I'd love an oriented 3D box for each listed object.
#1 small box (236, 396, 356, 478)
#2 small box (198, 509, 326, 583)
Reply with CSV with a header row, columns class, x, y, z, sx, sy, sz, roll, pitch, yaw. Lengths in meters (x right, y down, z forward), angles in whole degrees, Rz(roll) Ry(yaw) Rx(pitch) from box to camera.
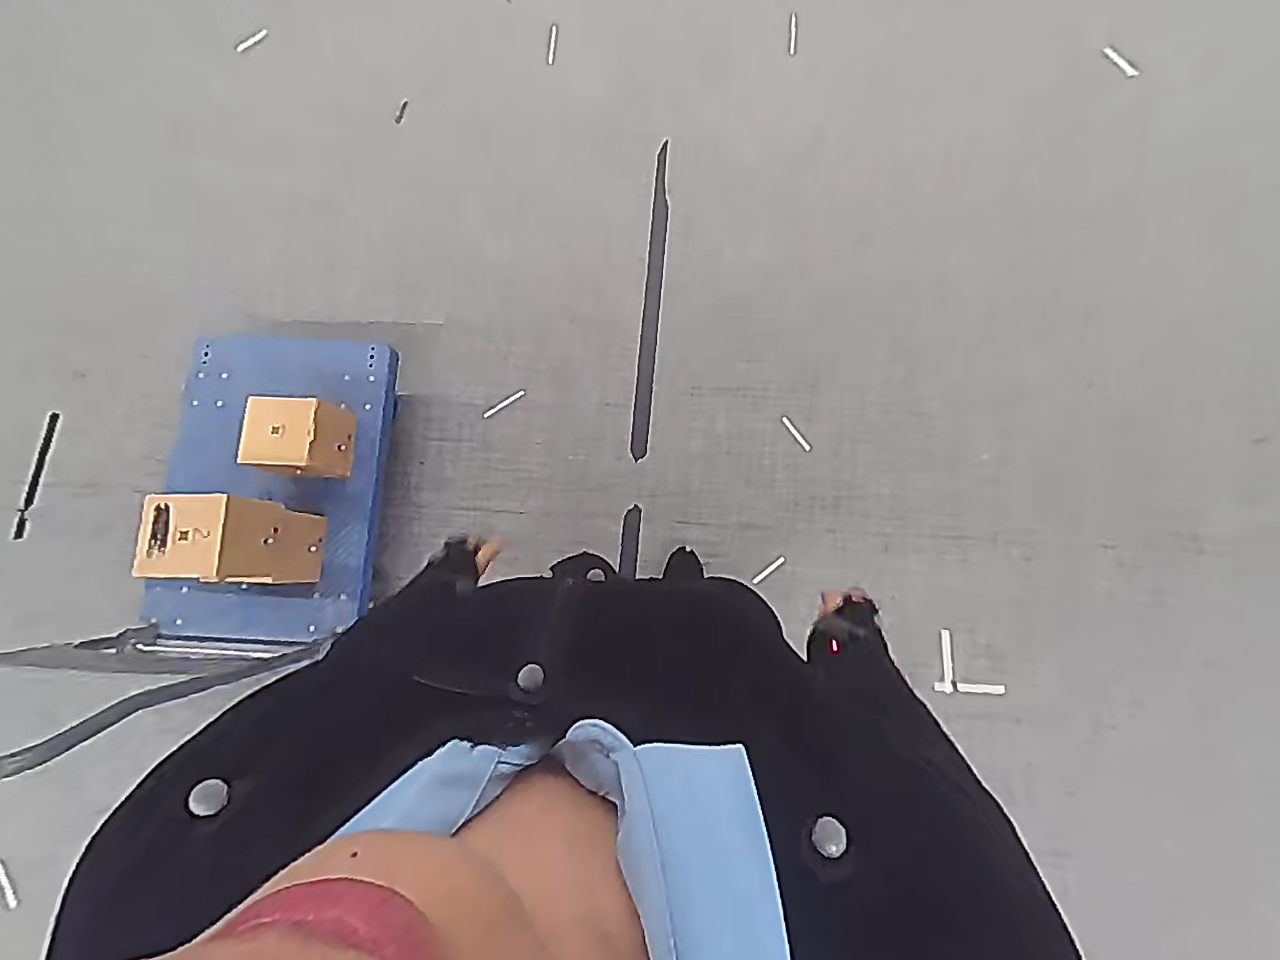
class,x,y,z,sx,sy,sz,roll,pitch,yaw
small box,-0.847,-0.102,1.346,0.179,0.176,0.168,2,80,4
small box,-0.900,0.162,1.300,0.179,0.176,0.168,1,80,3
